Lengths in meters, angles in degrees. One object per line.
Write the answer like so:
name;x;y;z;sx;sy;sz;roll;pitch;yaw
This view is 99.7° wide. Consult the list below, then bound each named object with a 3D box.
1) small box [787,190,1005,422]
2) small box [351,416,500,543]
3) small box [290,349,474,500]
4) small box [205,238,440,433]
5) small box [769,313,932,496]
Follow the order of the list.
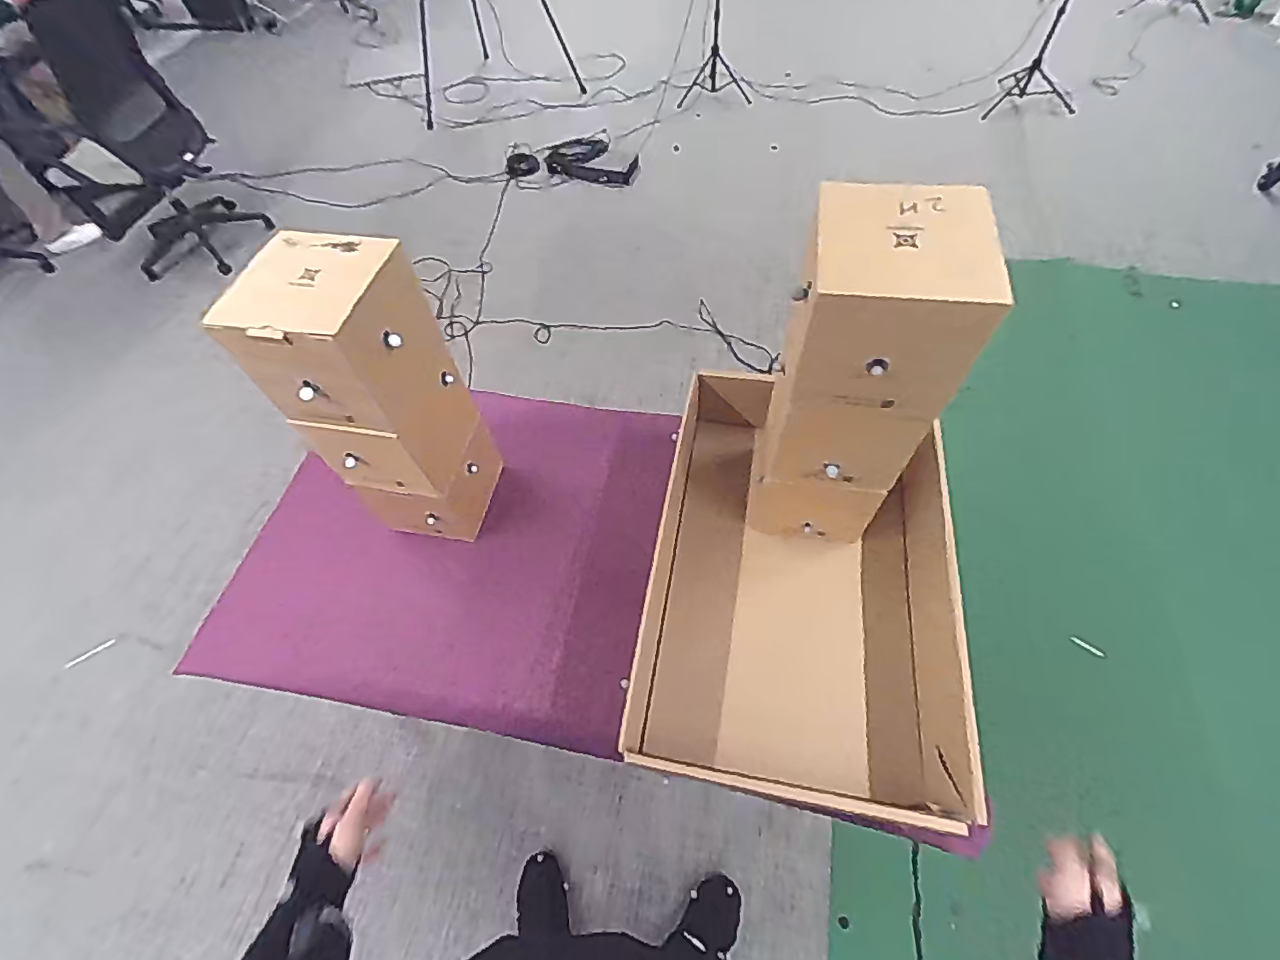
small box;0.259;-0.183;0.588;0.168;0.176;0.179;7;60;9
small box;-0.368;-0.005;0.970;0.168;0.176;0.179;9;58;8
small box;-0.377;-0.088;0.832;0.168;0.176;0.179;8;58;8
small box;-0.383;-0.180;0.696;0.168;0.176;0.179;8;59;7
small box;0.270;-0.101;0.731;0.168;0.176;0.179;6;60;9
